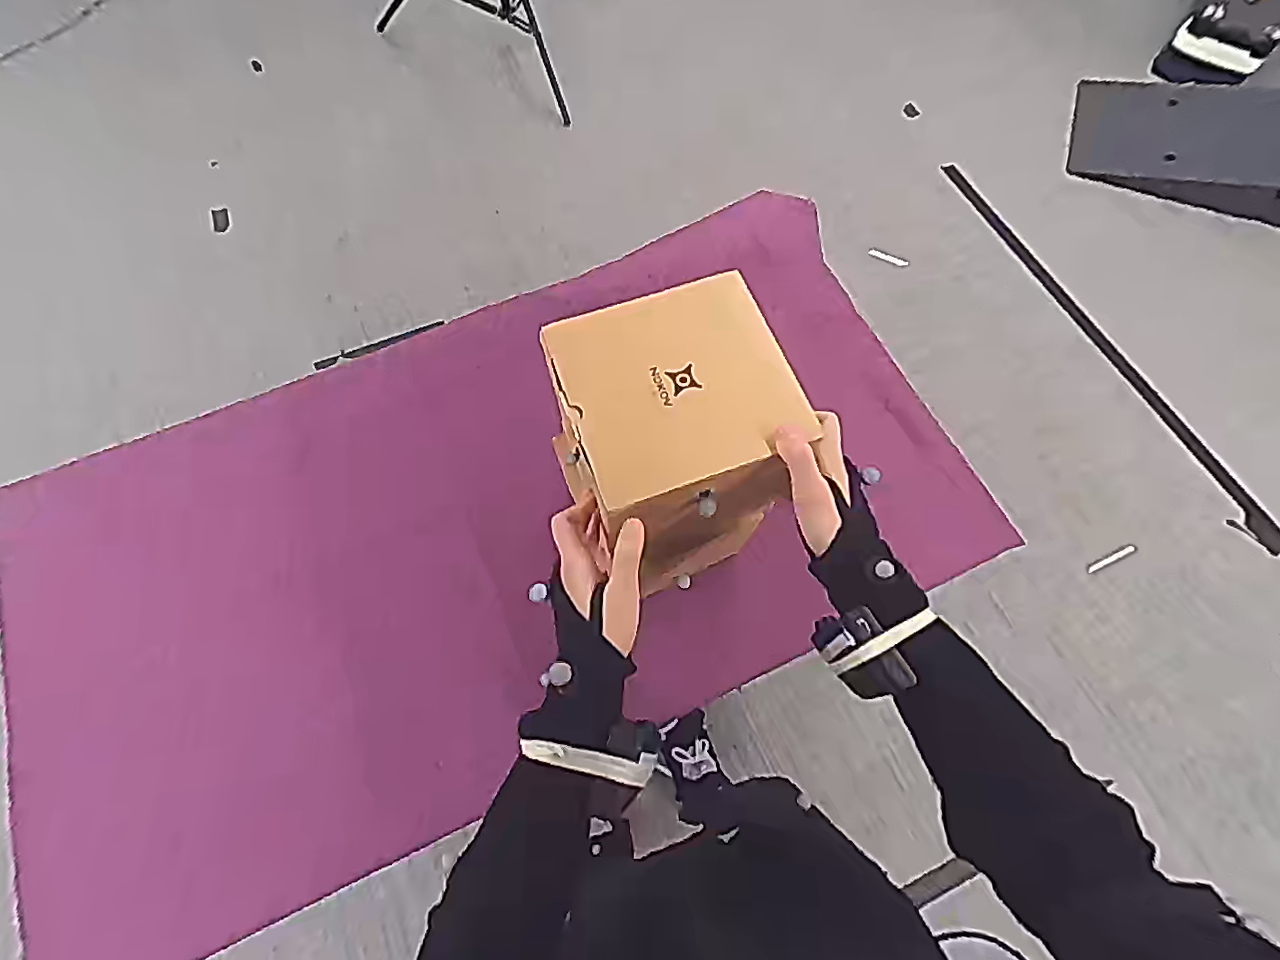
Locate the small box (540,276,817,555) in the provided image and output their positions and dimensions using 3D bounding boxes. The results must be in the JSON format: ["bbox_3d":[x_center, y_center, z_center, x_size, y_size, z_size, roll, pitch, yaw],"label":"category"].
[{"bbox_3d":[0.026,-0.046,0.493,0.179,0.176,0.168,-19,71,-6],"label":"small box"}]

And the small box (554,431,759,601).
[{"bbox_3d":[0.013,0.025,0.640,0.168,0.176,0.179,-24,72,-8],"label":"small box"}]
